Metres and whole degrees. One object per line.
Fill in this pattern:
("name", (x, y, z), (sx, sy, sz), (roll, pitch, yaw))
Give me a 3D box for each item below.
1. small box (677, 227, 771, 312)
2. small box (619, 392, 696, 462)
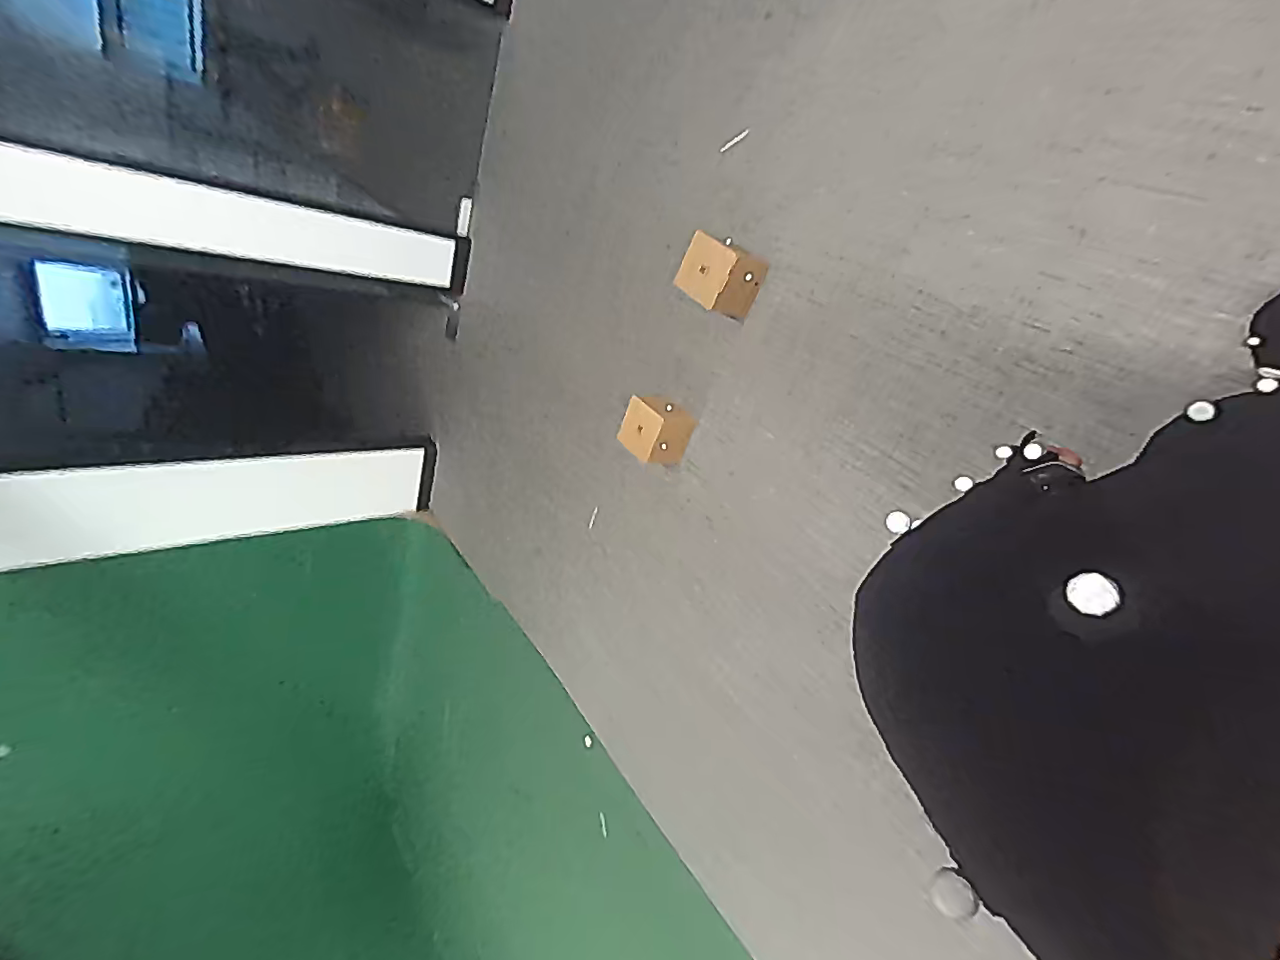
("small box", (0.247, -0.606, 1.573), (0.179, 0.176, 0.168), (48, 126, 32))
("small box", (0.065, -0.183, 1.823), (0.168, 0.176, 0.179), (43, 125, 33))
